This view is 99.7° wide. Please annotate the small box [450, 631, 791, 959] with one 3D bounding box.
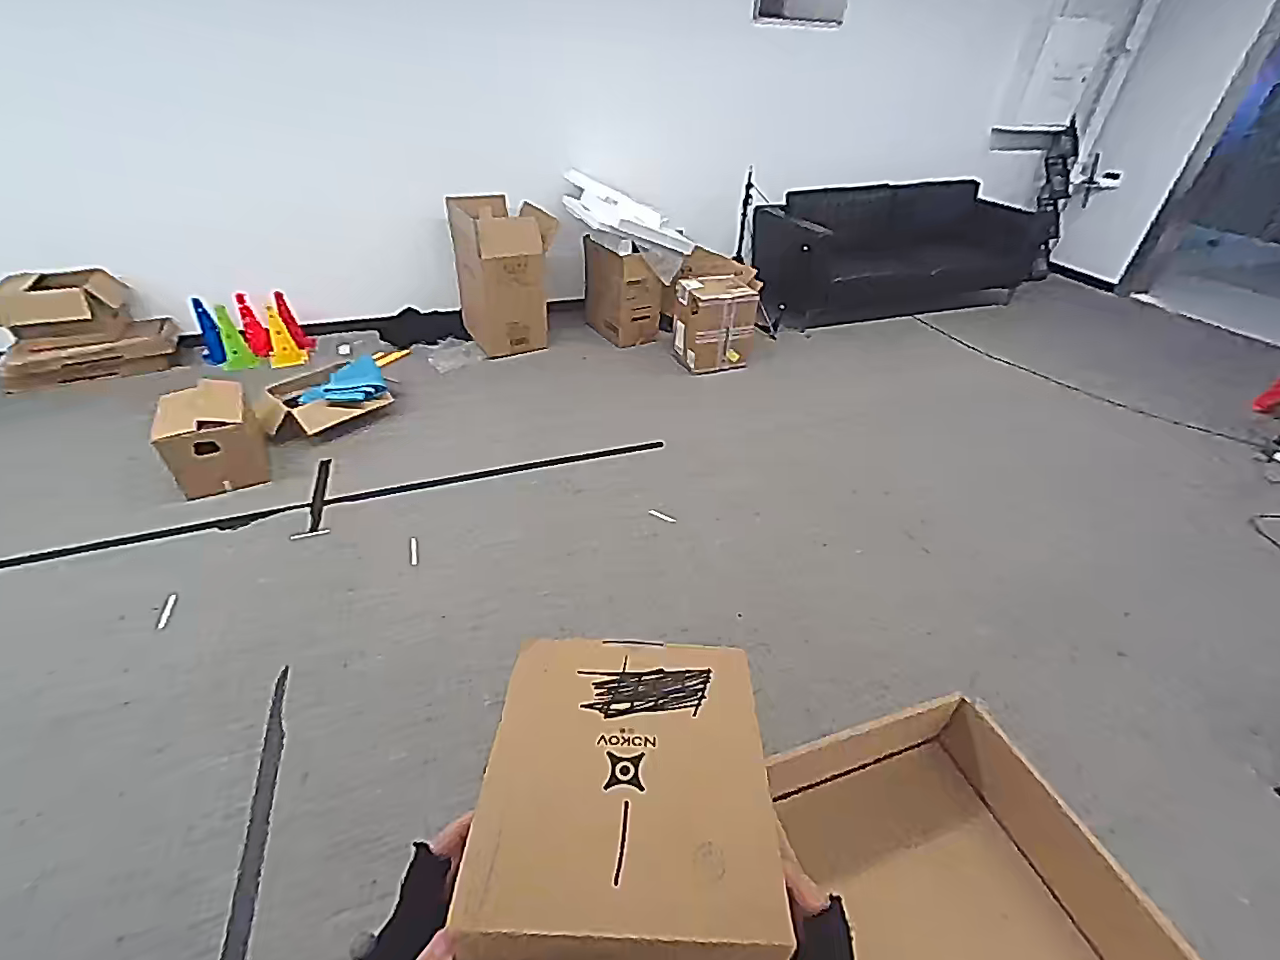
[{"bbox_3d":[-0.010,0.228,0.365,0.168,0.176,0.179,2,32,1],"label":"small box"}]
